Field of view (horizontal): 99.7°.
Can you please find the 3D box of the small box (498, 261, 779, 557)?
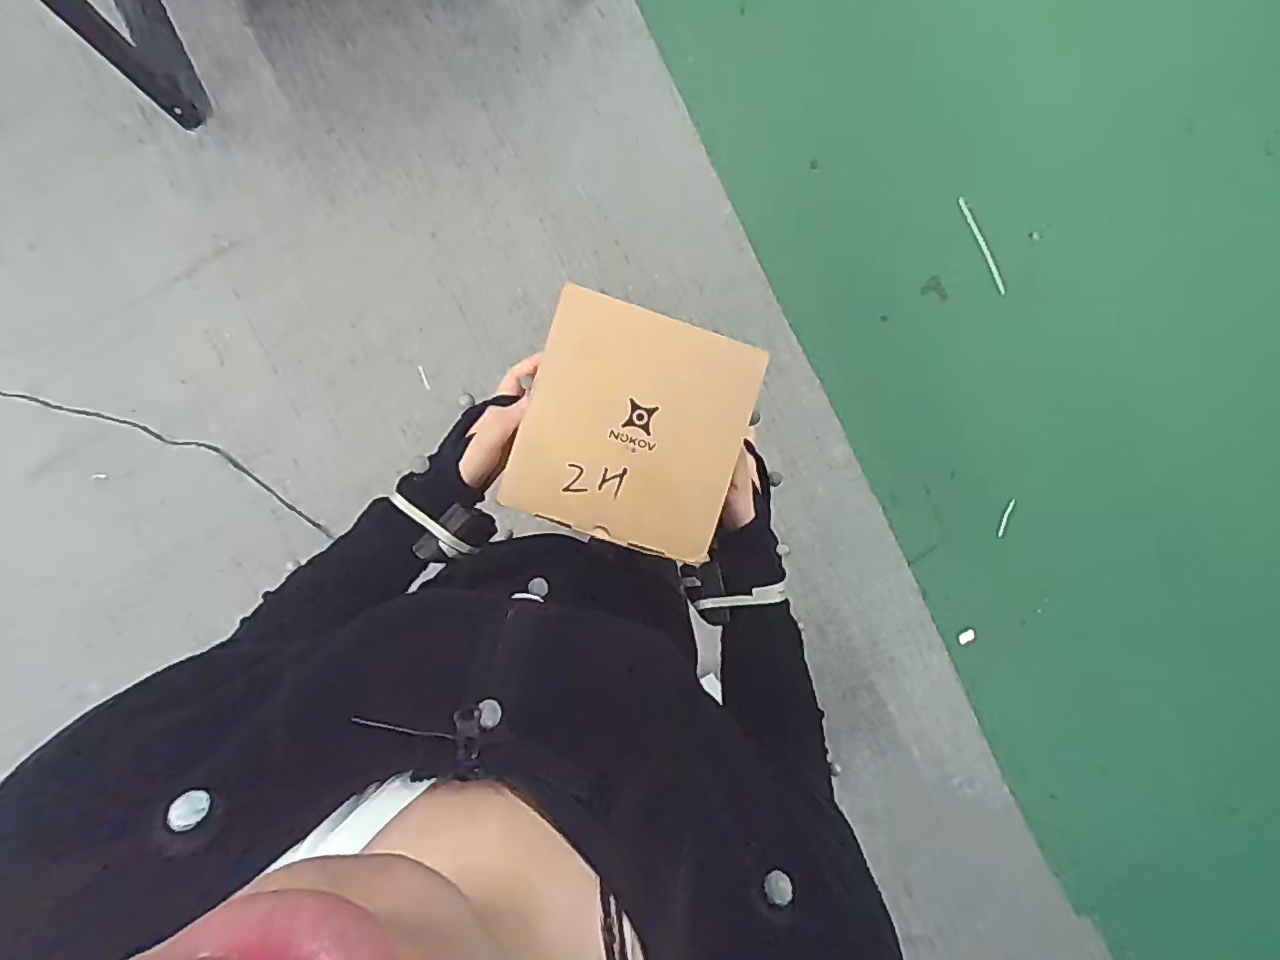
[{"bbox_3d":[-0.006,-0.052,0.470,0.168,0.176,0.179,18,90,-5],"label":"small box"}]
